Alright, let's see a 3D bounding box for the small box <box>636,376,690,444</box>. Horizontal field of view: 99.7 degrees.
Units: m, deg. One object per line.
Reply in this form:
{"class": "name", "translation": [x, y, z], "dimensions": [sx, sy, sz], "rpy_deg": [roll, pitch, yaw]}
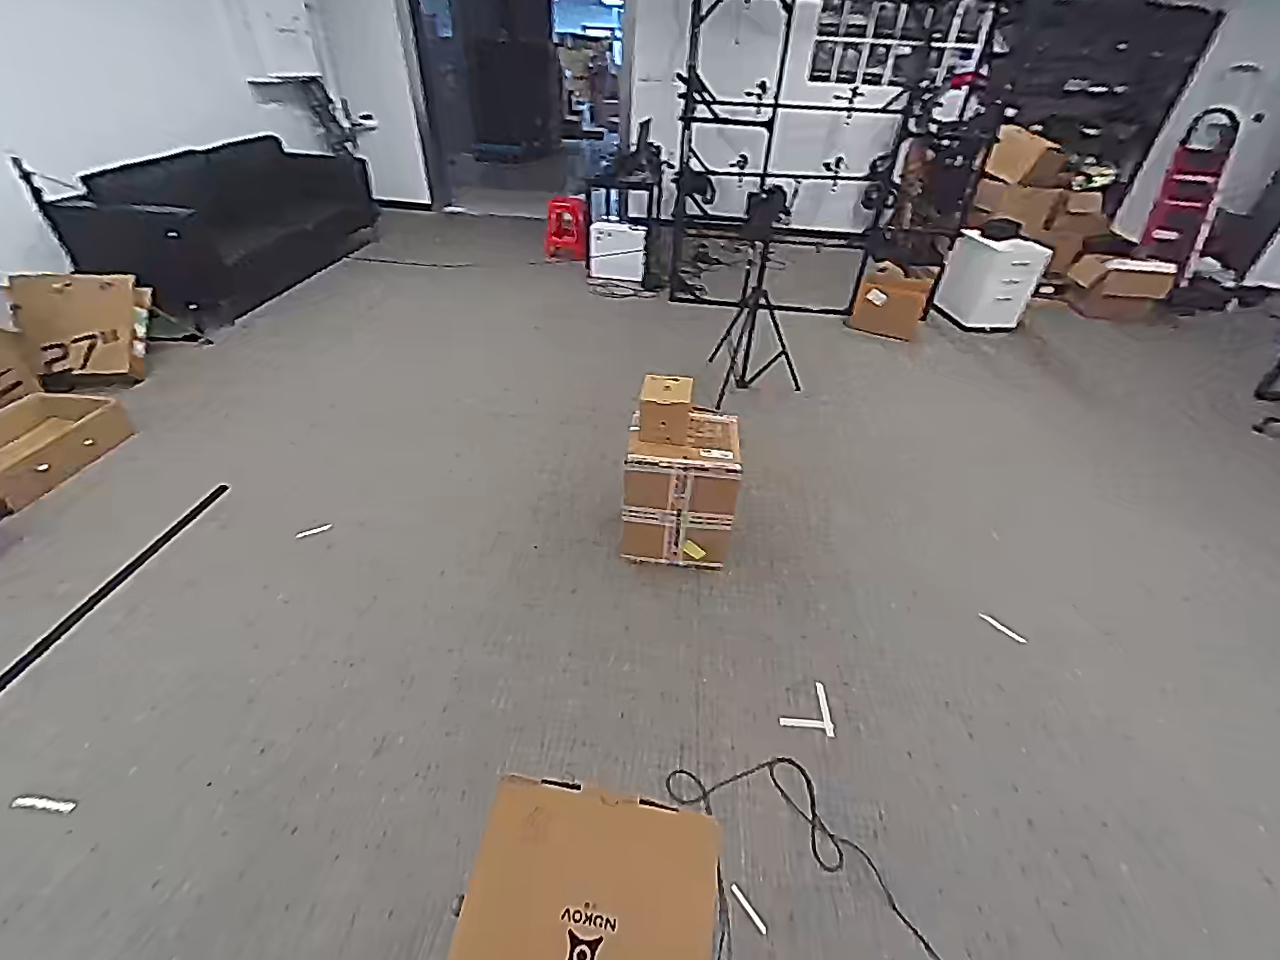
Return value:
{"class": "small box", "translation": [0.081, -0.241, 1.879], "dimensions": [0.168, 0.176, 0.179], "rpy_deg": [5, 40, 6]}
